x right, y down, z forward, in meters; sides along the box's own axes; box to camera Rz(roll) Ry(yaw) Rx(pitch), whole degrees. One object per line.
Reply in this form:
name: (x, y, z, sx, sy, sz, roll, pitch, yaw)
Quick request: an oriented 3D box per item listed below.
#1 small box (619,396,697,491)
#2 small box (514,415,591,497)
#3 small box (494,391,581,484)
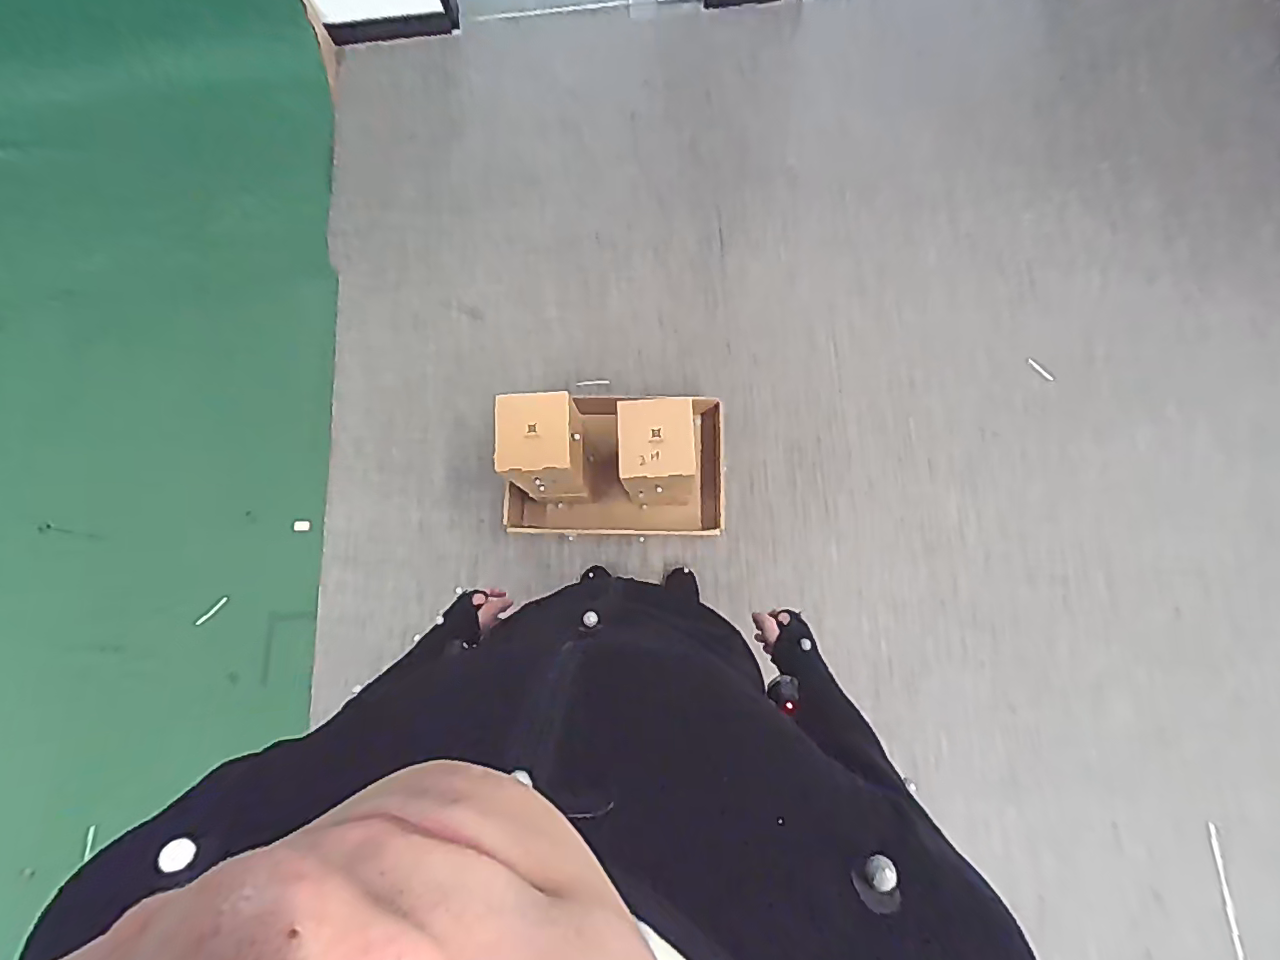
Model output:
small box: (0.040, -0.078, 1.230, 0.168, 0.176, 0.179, -3, 79, 4)
small box: (-0.224, -0.059, 1.410, 0.168, 0.176, 0.179, -2, 78, 4)
small box: (-0.232, -0.092, 1.252, 0.168, 0.176, 0.179, -3, 80, 2)
